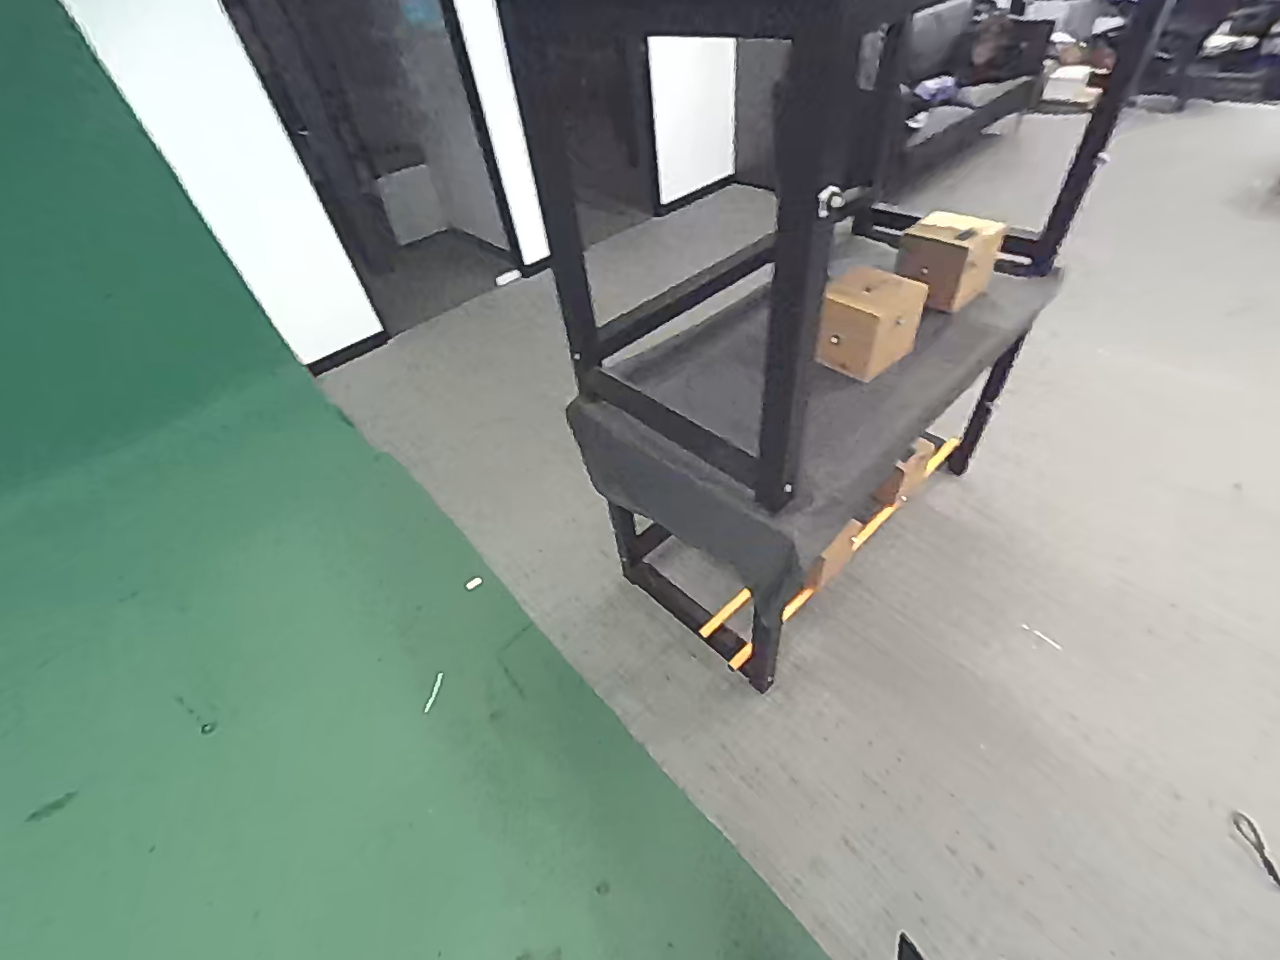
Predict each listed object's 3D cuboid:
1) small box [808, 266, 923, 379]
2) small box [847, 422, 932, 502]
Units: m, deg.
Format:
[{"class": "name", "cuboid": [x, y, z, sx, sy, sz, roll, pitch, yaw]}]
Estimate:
[{"class": "small box", "cuboid": [0.501, -0.355, 1.228, 0.179, 0.176, 0.168, -34, 50, -23]}, {"class": "small box", "cuboid": [0.807, -0.052, 1.763, 0.168, 0.176, 0.179, -33, 50, -23]}]
